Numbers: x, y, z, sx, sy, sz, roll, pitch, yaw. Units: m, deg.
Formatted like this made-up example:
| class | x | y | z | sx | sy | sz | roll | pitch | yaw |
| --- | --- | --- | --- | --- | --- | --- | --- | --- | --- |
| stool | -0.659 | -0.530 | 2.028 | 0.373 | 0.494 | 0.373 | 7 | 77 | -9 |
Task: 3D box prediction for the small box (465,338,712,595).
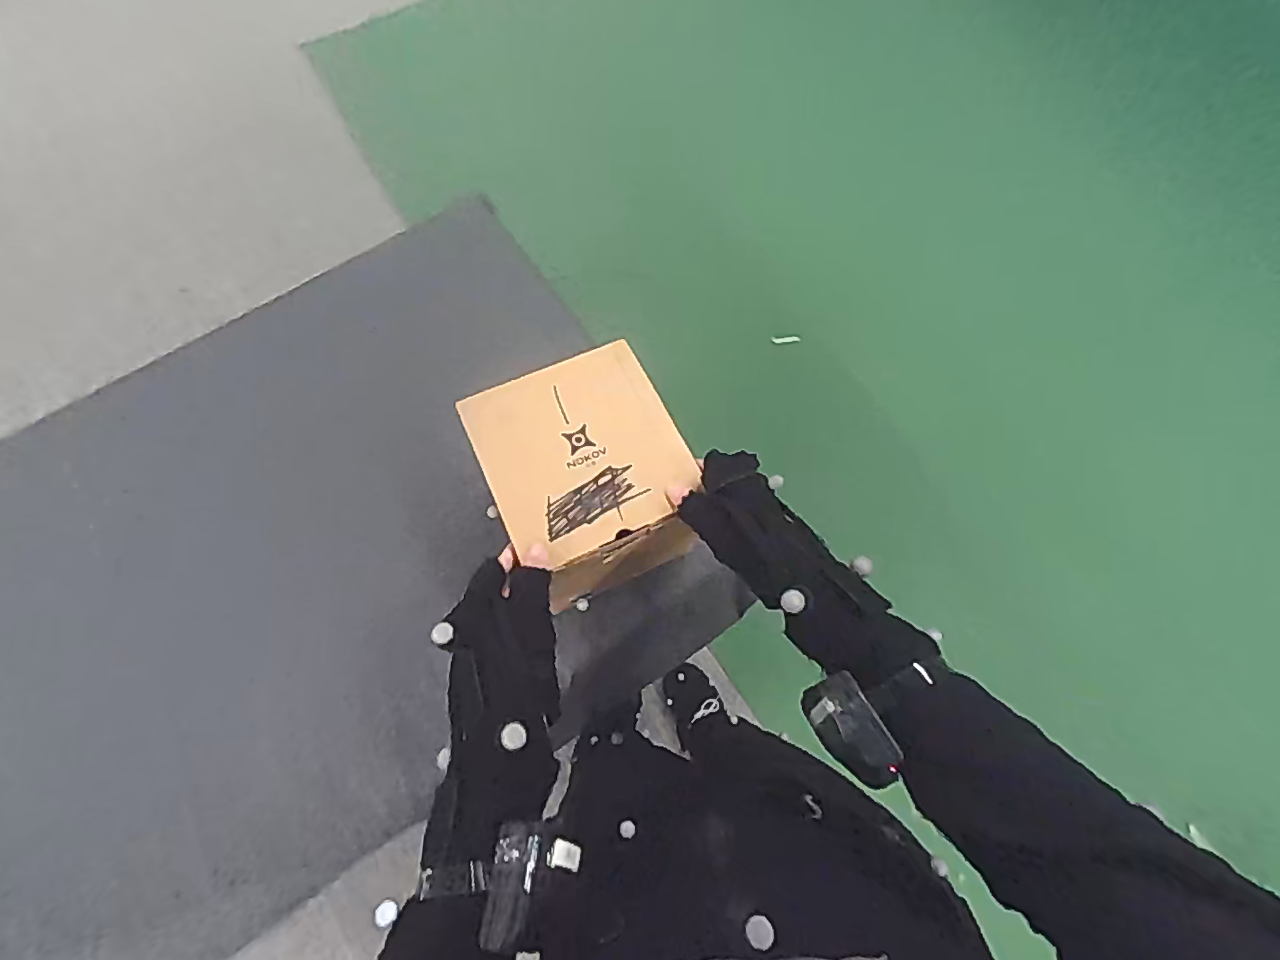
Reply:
| class | x | y | z | sx | sy | sz | roll | pitch | yaw |
| --- | --- | --- | --- | --- | --- | --- | --- | --- | --- |
| small box | -0.048 | 0.000 | 0.533 | 0.168 | 0.176 | 0.179 | -22 | 70 | -11 |
